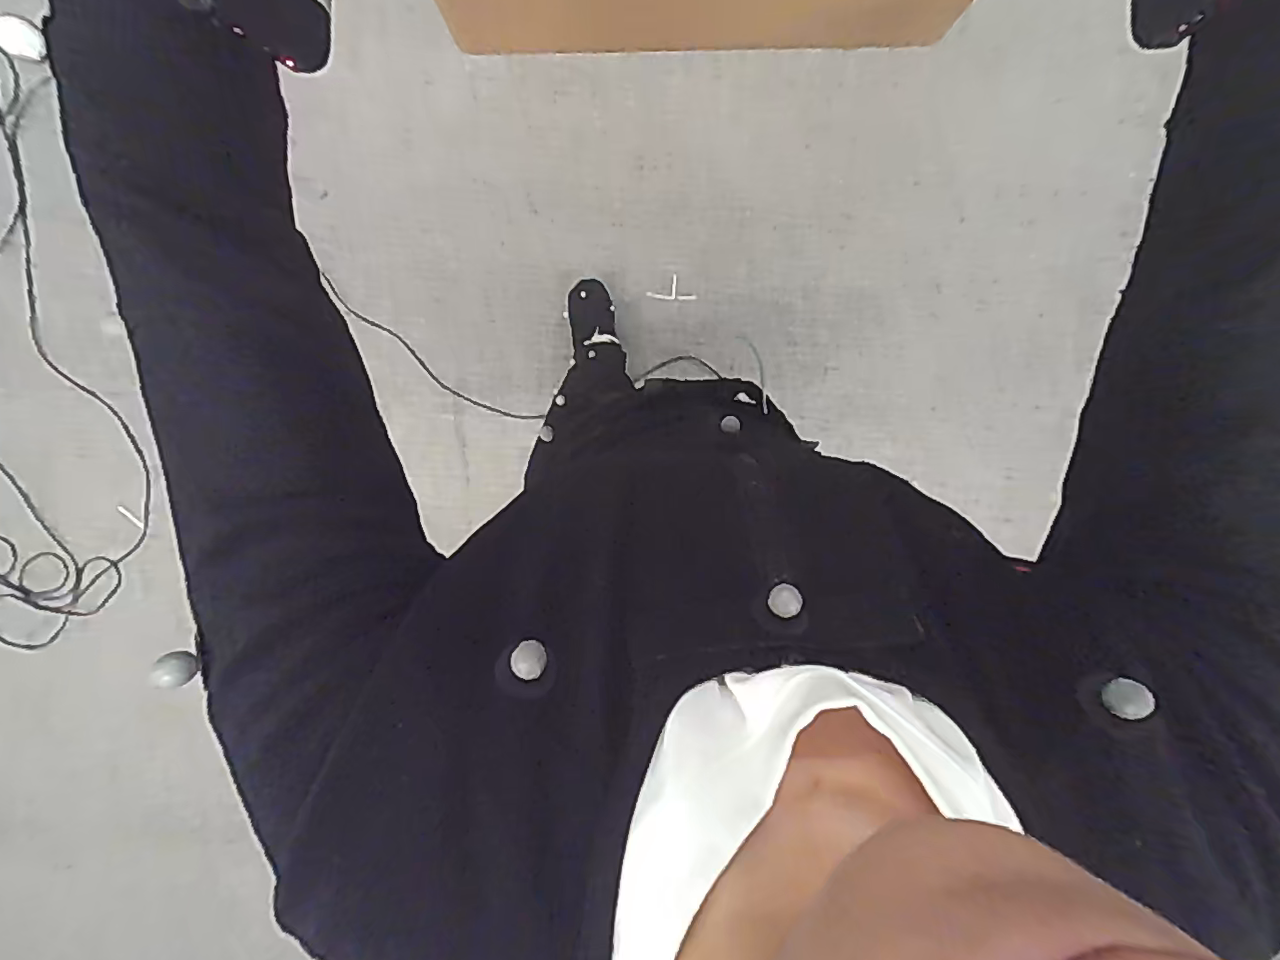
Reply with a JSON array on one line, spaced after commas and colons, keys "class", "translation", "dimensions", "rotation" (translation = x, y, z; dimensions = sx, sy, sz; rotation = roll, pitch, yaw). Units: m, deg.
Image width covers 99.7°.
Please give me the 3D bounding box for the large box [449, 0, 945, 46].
[{"class": "large box", "translation": [0.046, -0.506, 0.293], "dimensions": [0.408, 0.320, 0.320], "rotation": [-3, 98, -2]}]
